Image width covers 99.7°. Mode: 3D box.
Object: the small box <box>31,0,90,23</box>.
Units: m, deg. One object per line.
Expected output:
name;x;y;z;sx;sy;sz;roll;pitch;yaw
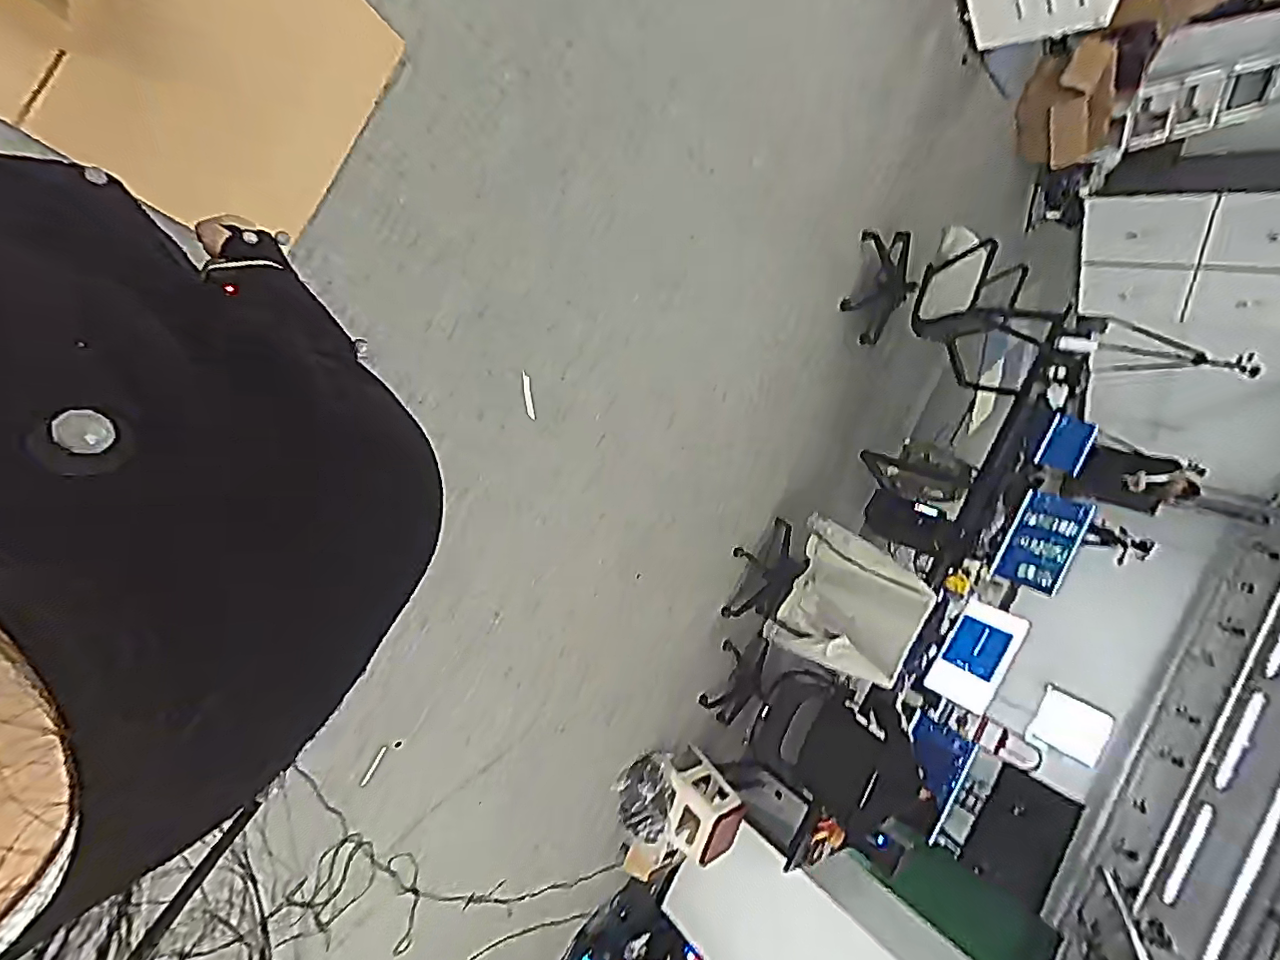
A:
small box;-0.796;-0.748;0.691;0.168;0.176;0.179;26;89;-48
